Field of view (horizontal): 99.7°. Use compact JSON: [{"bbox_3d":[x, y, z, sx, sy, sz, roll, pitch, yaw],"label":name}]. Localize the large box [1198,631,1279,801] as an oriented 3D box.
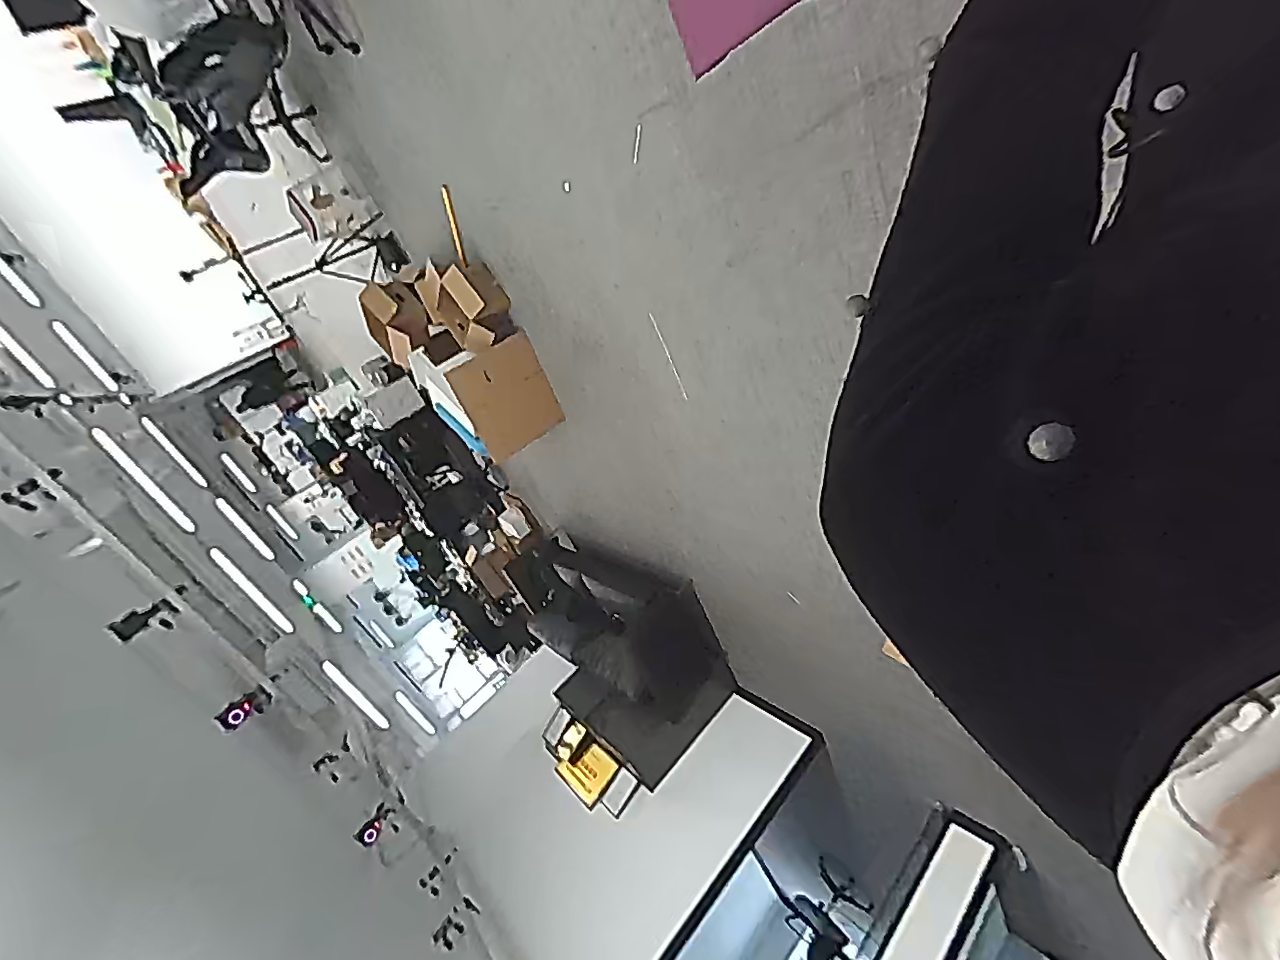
[{"bbox_3d":[1.729,0.574,1.309,0.320,0.320,0.408,48,153,3],"label":"large box"}]
